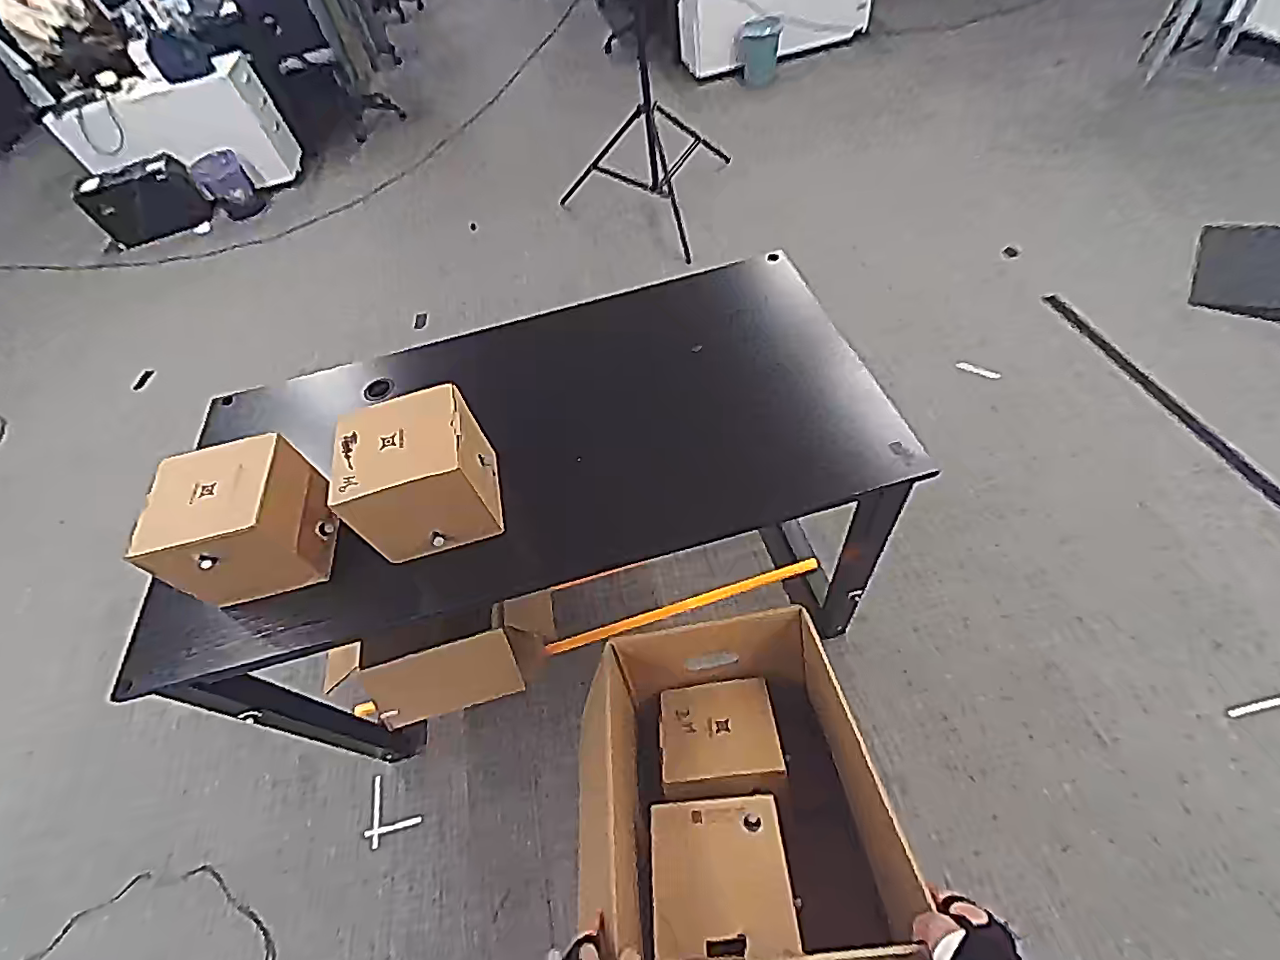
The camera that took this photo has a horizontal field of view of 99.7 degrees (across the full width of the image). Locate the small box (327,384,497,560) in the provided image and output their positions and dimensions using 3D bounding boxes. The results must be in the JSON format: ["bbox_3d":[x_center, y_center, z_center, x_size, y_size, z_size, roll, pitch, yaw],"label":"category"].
[{"bbox_3d":[-0.317,-0.007,0.789,0.179,0.176,0.168,-16,54,-3],"label":"small box"}]

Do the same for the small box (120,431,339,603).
[{"bbox_3d":[-0.572,0.060,0.786,0.179,0.176,0.168,-14,55,-2],"label":"small box"}]
